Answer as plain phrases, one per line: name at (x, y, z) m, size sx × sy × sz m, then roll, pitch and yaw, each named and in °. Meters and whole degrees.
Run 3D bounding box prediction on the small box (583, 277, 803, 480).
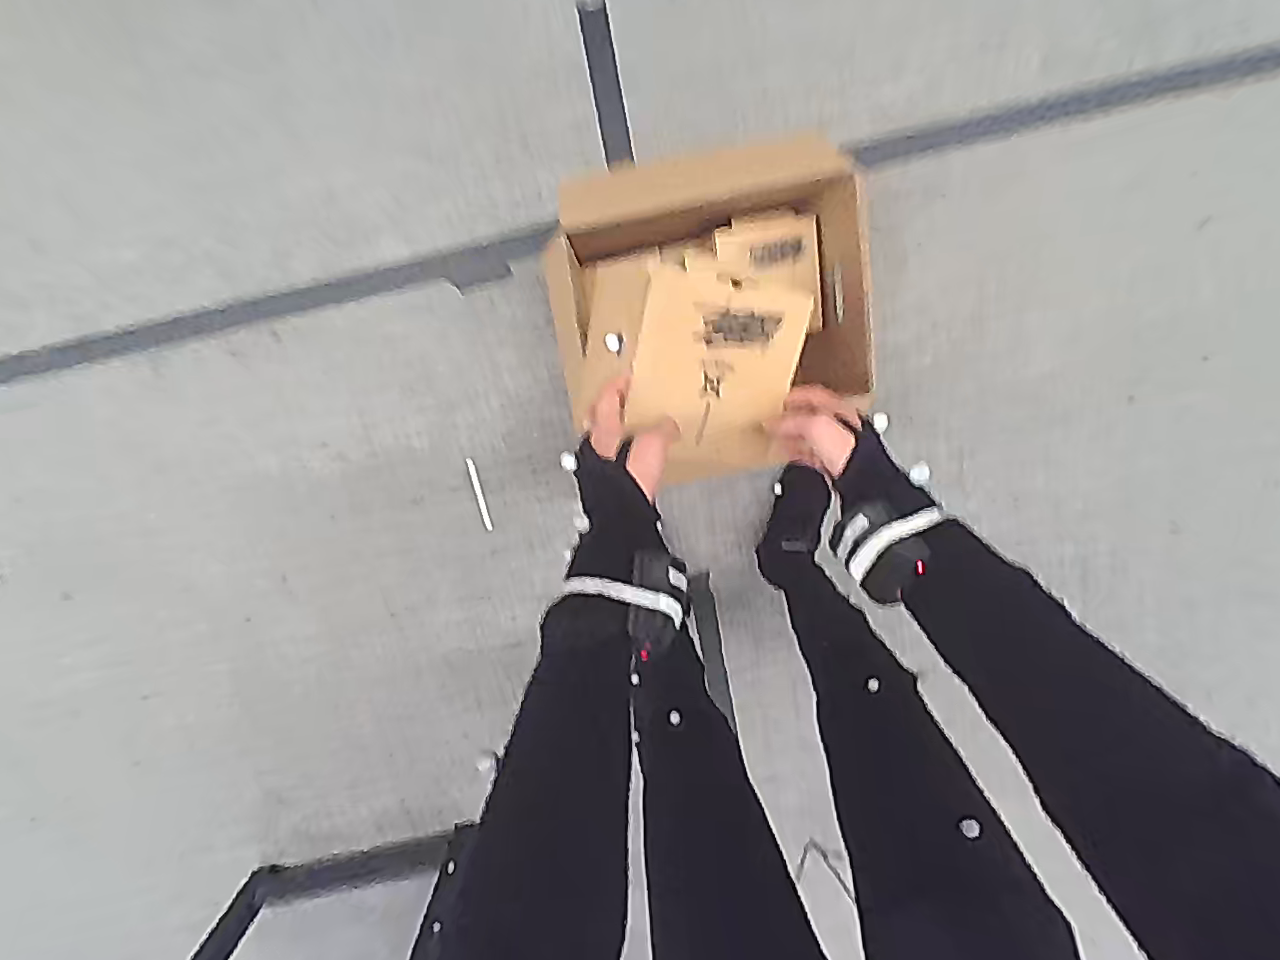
small box at (0.042, -0.111, 0.585) m, size 0.168 × 0.176 × 0.179 m, roll 4°, pitch 107°, yaw -21°
